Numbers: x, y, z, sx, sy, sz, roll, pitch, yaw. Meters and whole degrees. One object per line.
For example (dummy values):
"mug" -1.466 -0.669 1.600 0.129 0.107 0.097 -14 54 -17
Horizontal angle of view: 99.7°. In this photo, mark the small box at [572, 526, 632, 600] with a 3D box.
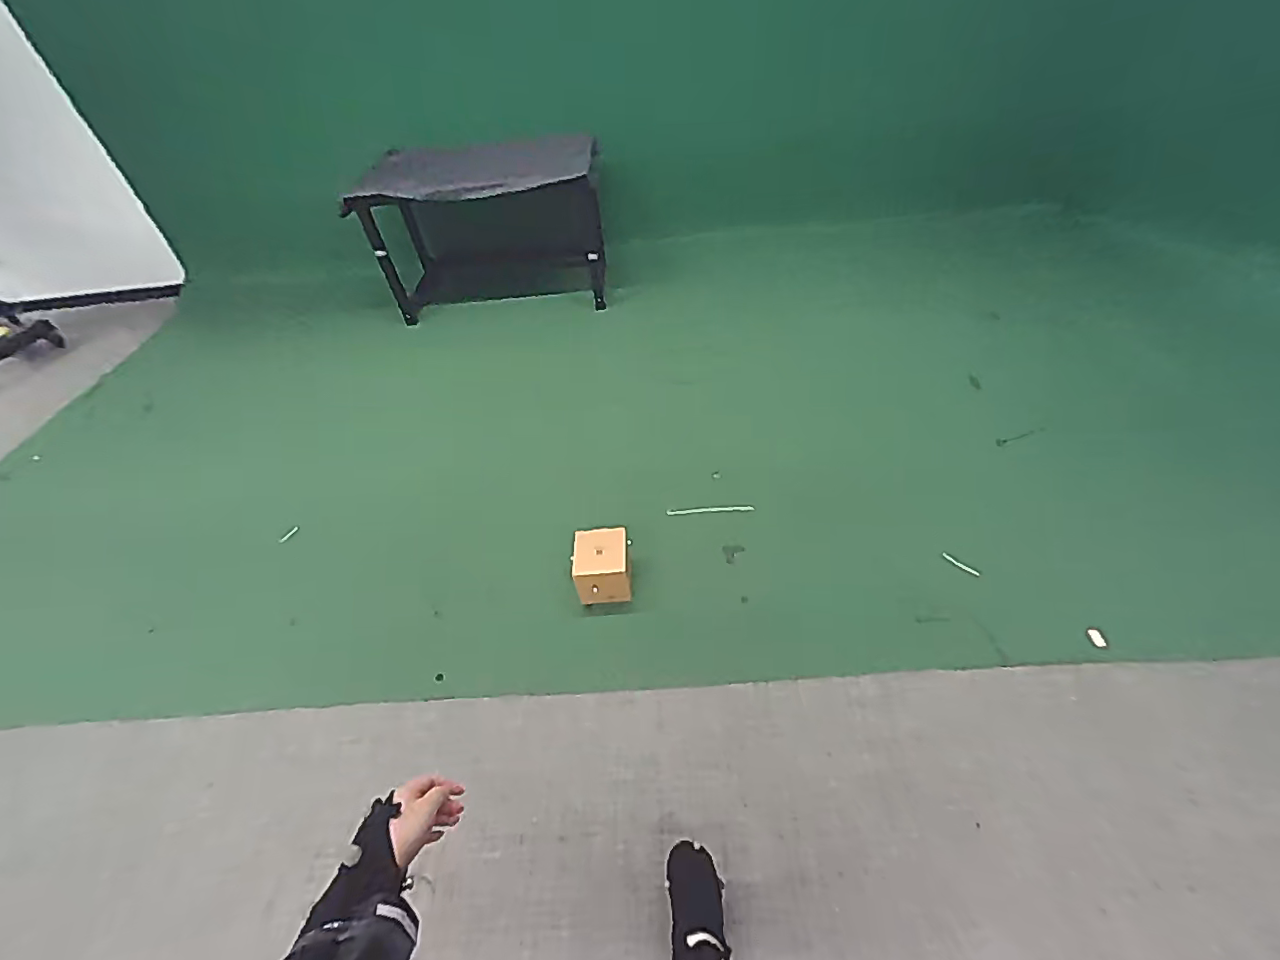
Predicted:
"small box" -0.117 0.273 1.735 0.168 0.176 0.179 -5 44 3
